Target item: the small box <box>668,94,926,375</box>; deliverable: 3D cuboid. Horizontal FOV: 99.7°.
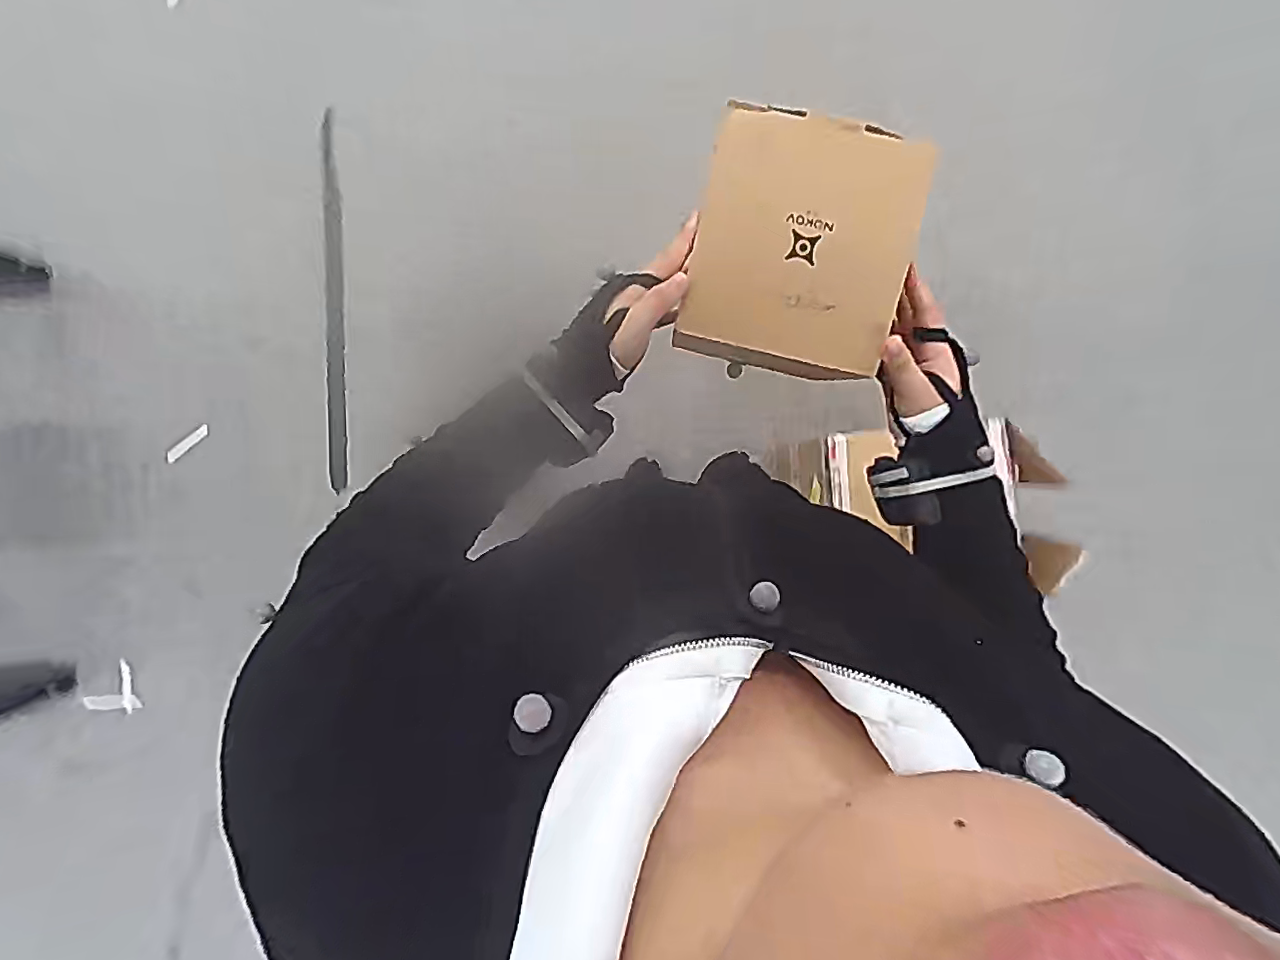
[{"bbox_3d":[0.120,-0.200,0.494,0.168,0.176,0.179,12,100,0],"label":"small box"}]
